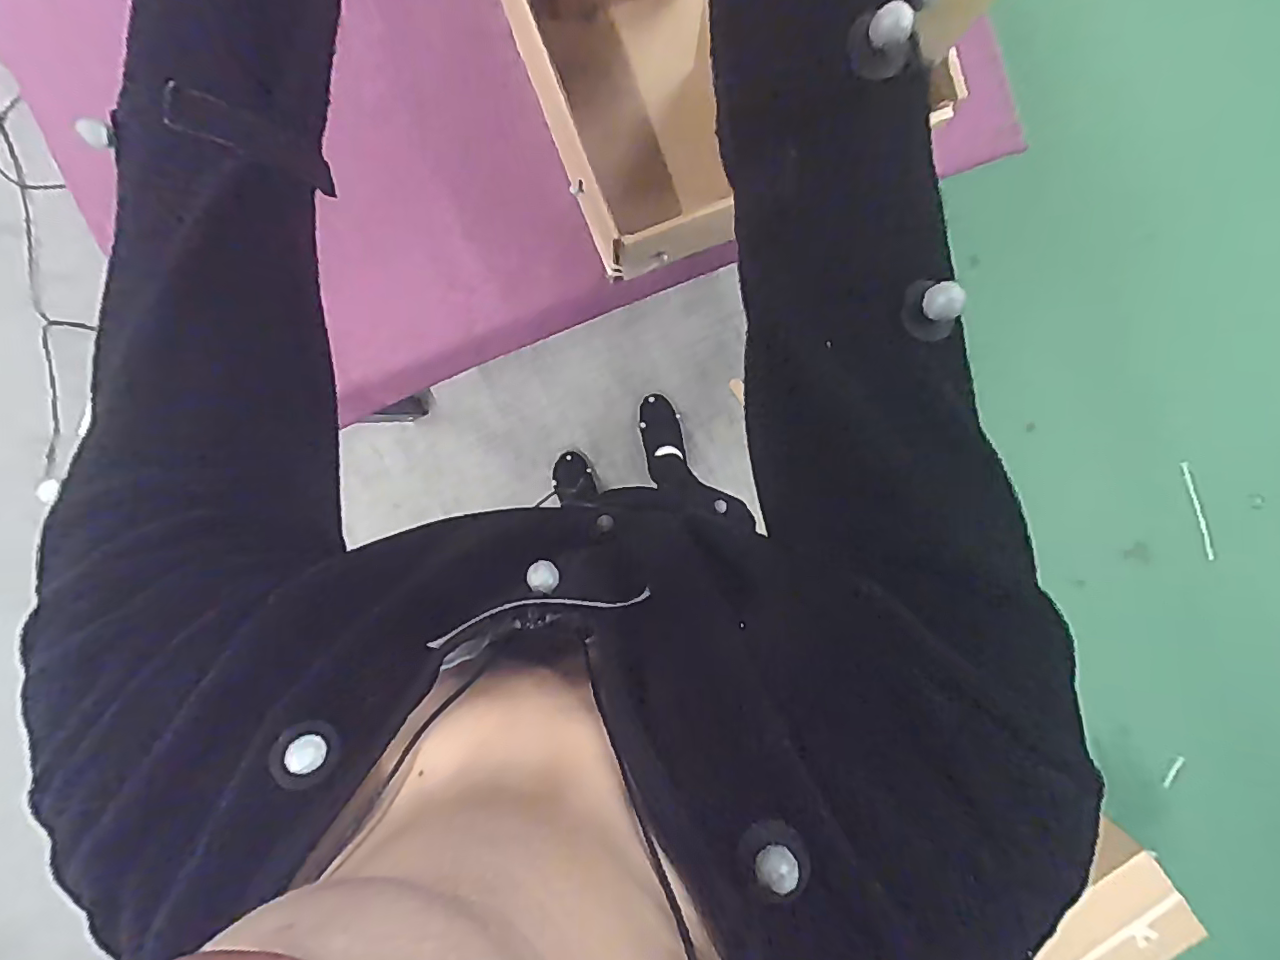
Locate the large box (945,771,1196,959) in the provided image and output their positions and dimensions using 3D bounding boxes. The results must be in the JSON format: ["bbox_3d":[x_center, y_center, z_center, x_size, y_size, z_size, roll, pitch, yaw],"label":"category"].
[{"bbox_3d":[1.190,1.143,1.538,0.408,0.320,0.320,-37,97,1],"label":"large box"}]
